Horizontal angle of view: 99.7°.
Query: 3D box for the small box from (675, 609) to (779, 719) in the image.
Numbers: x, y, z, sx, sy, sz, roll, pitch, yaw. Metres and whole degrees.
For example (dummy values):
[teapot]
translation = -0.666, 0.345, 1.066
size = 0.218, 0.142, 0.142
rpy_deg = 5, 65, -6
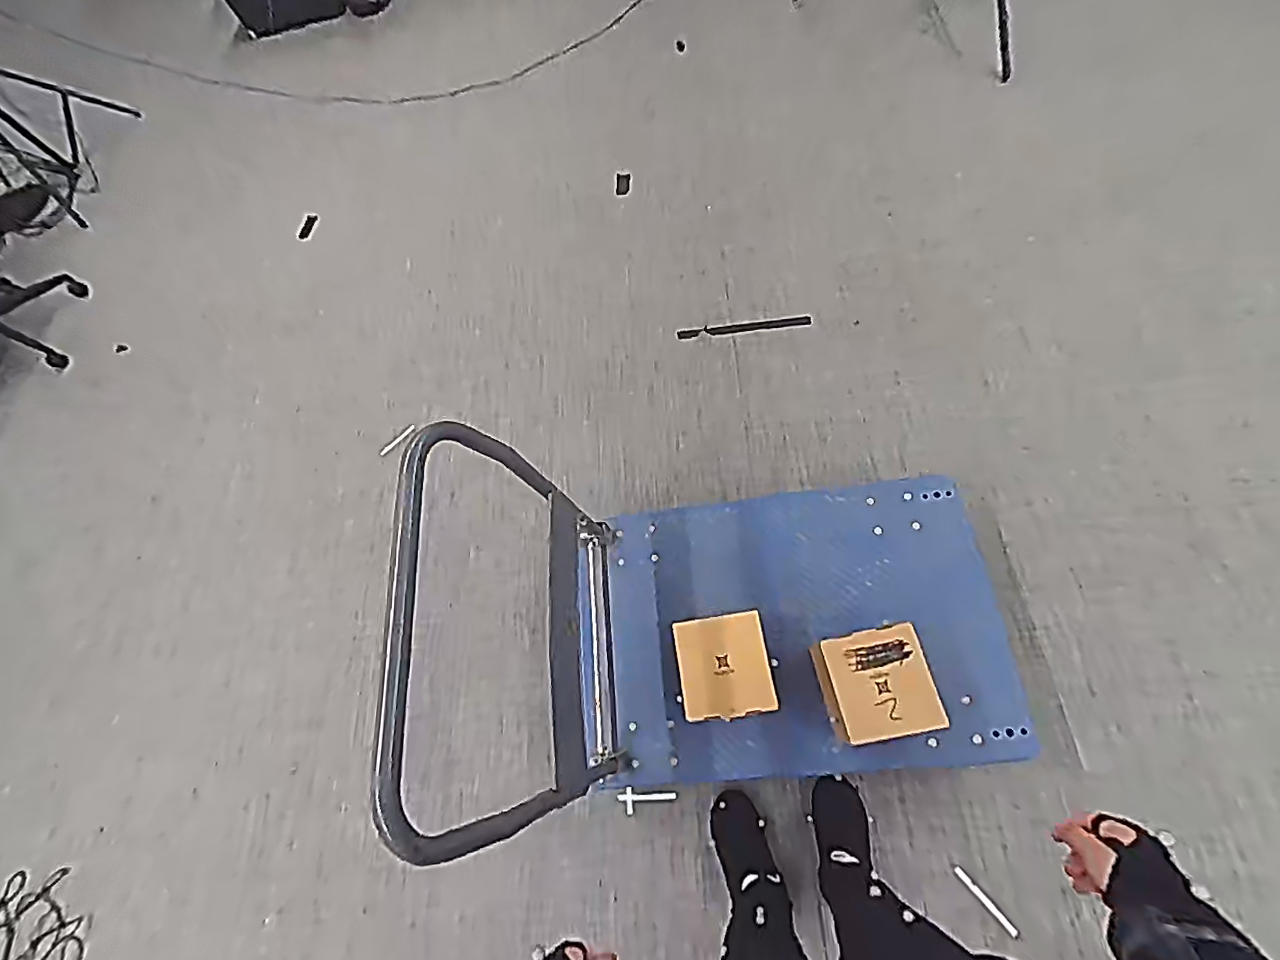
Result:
[small box]
translation = 0.167, 0.364, 1.061
size = 0.168, 0.176, 0.179
rpy_deg = -11, 68, 6
